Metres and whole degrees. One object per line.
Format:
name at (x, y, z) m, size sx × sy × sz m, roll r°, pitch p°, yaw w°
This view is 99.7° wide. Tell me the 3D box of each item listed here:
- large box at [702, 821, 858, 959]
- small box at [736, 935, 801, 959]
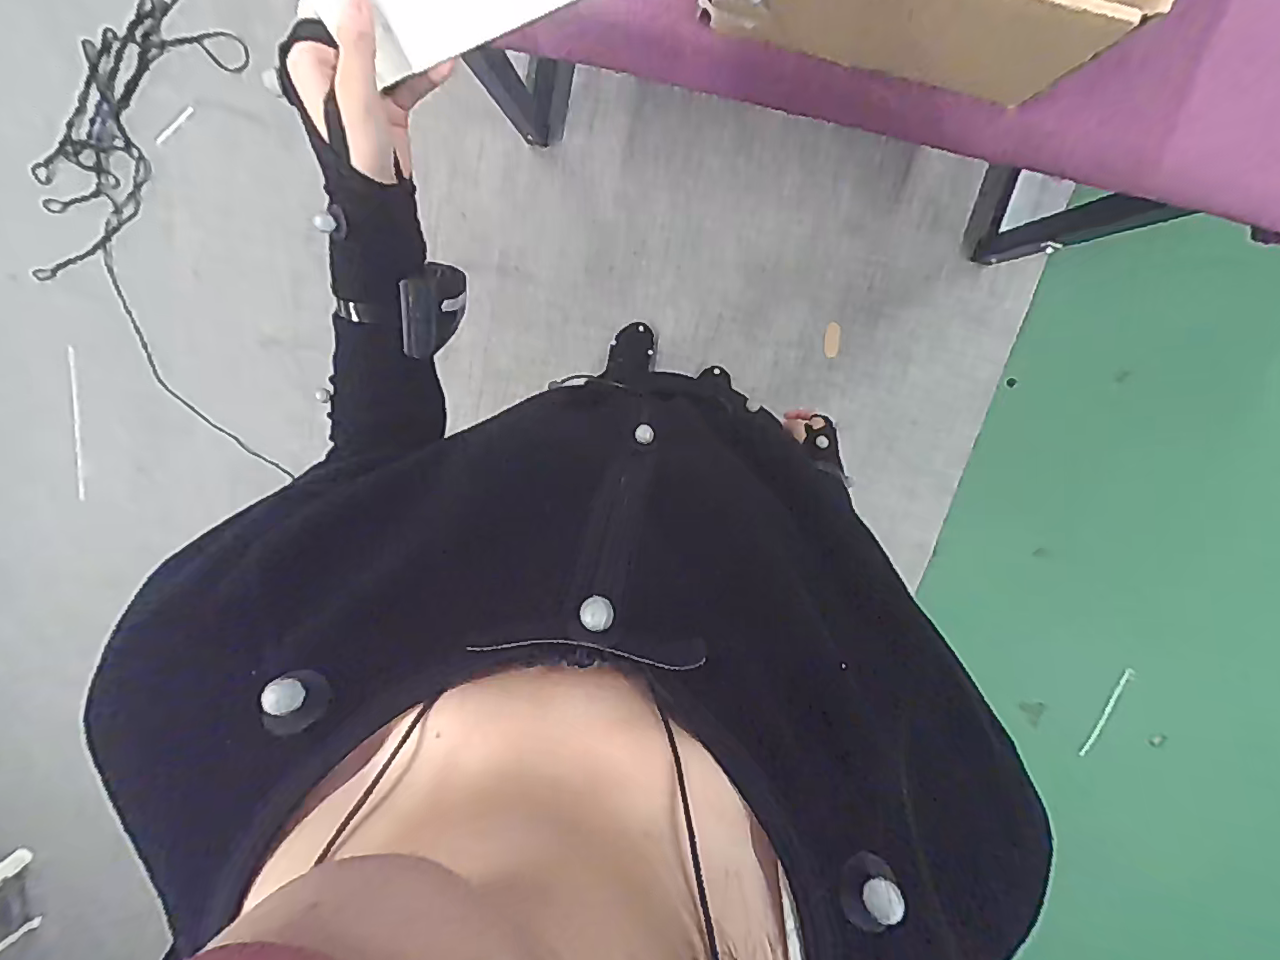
large box at (0.400, 1.291, 1.643) m, size 0.408 × 0.320 × 0.320 m, roll -1°, pitch 104°, yaw 3°
small box at (0.341, 1.334, 1.407) m, size 0.168 × 0.176 × 0.179 m, roll 0°, pitch 103°, yaw 4°
